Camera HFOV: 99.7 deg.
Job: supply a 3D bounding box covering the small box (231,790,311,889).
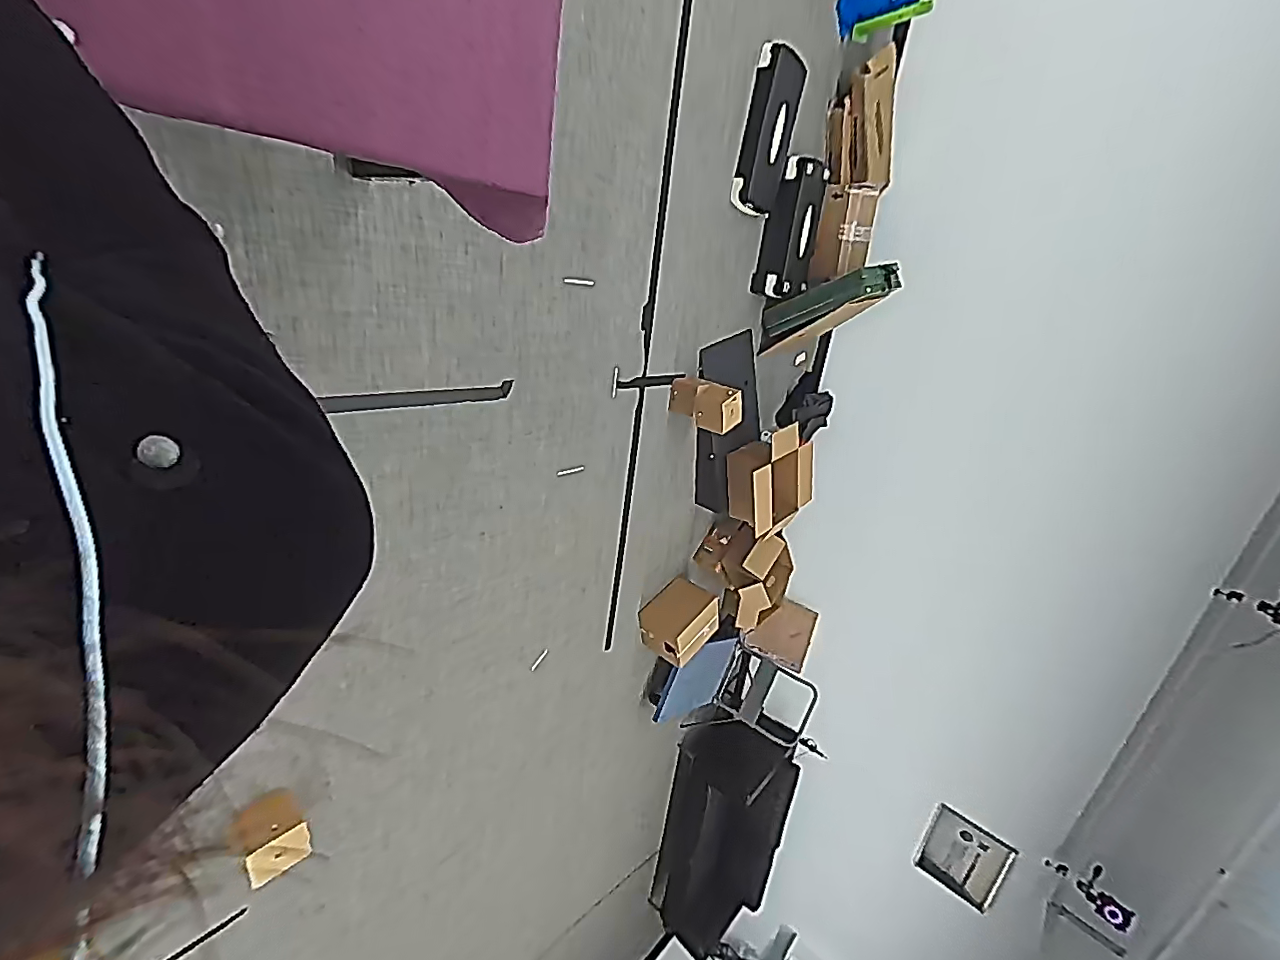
[{"bbox_3d":[-1.241,1.198,1.813,0.179,0.176,0.168,-20,124,-47],"label":"small box"}]
